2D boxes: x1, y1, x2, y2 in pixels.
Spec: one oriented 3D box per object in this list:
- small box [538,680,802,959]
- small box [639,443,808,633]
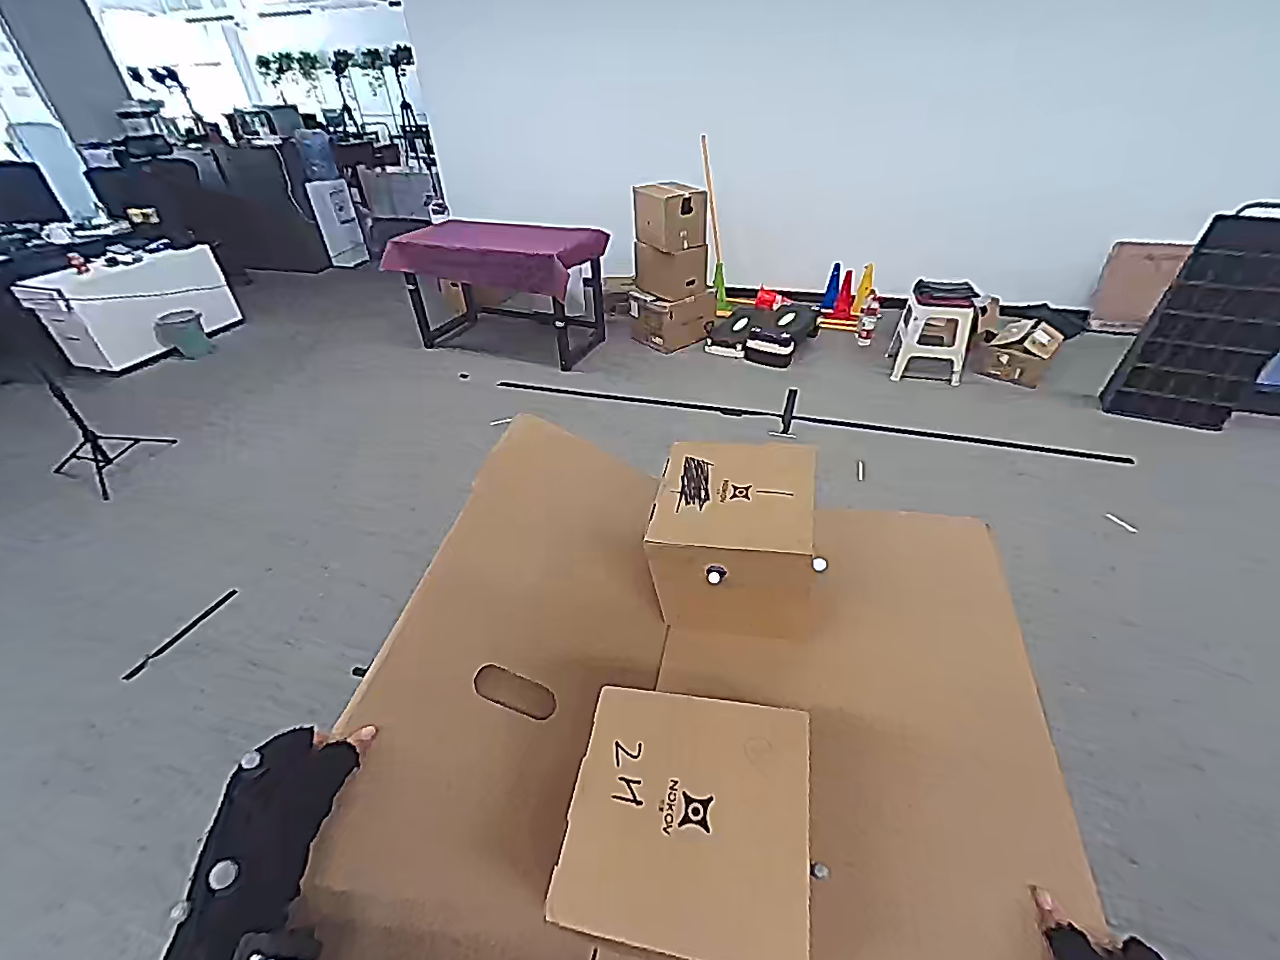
[{"bbox_3d":[0.043,0.296,0.462,0.179,0.176,0.168,1,45,17],"label":"small box"},{"bbox_3d":[0.113,0.072,0.674,0.179,0.176,0.168,3,46,17],"label":"small box"}]
